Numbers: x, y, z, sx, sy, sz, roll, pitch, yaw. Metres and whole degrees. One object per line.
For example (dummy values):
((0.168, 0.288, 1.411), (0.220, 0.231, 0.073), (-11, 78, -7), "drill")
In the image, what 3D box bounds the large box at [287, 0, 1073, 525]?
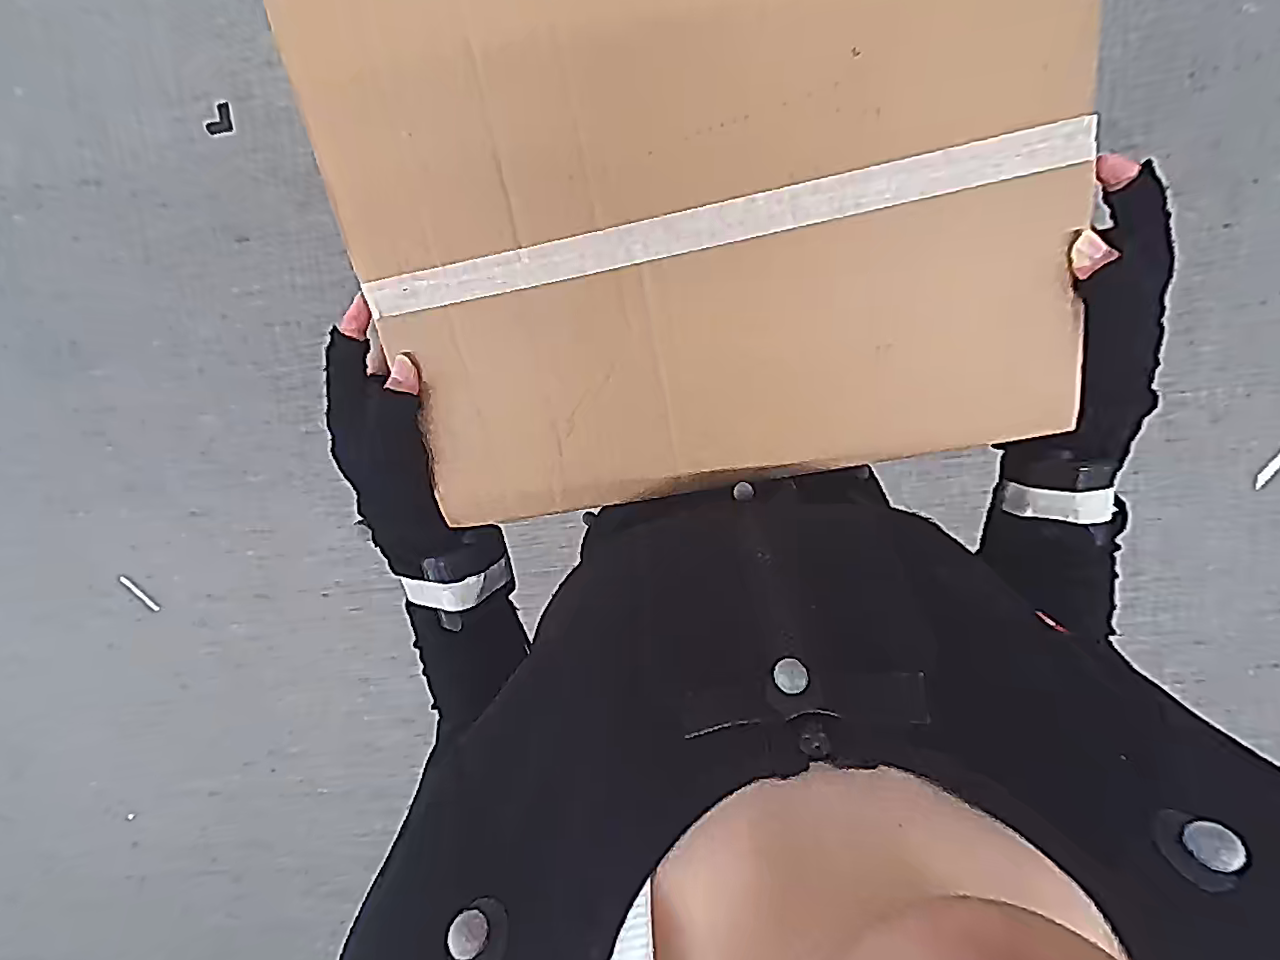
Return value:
((0.042, -0.194, 0.452), (0.408, 0.320, 0.320), (-9, 109, 7), "large box")
